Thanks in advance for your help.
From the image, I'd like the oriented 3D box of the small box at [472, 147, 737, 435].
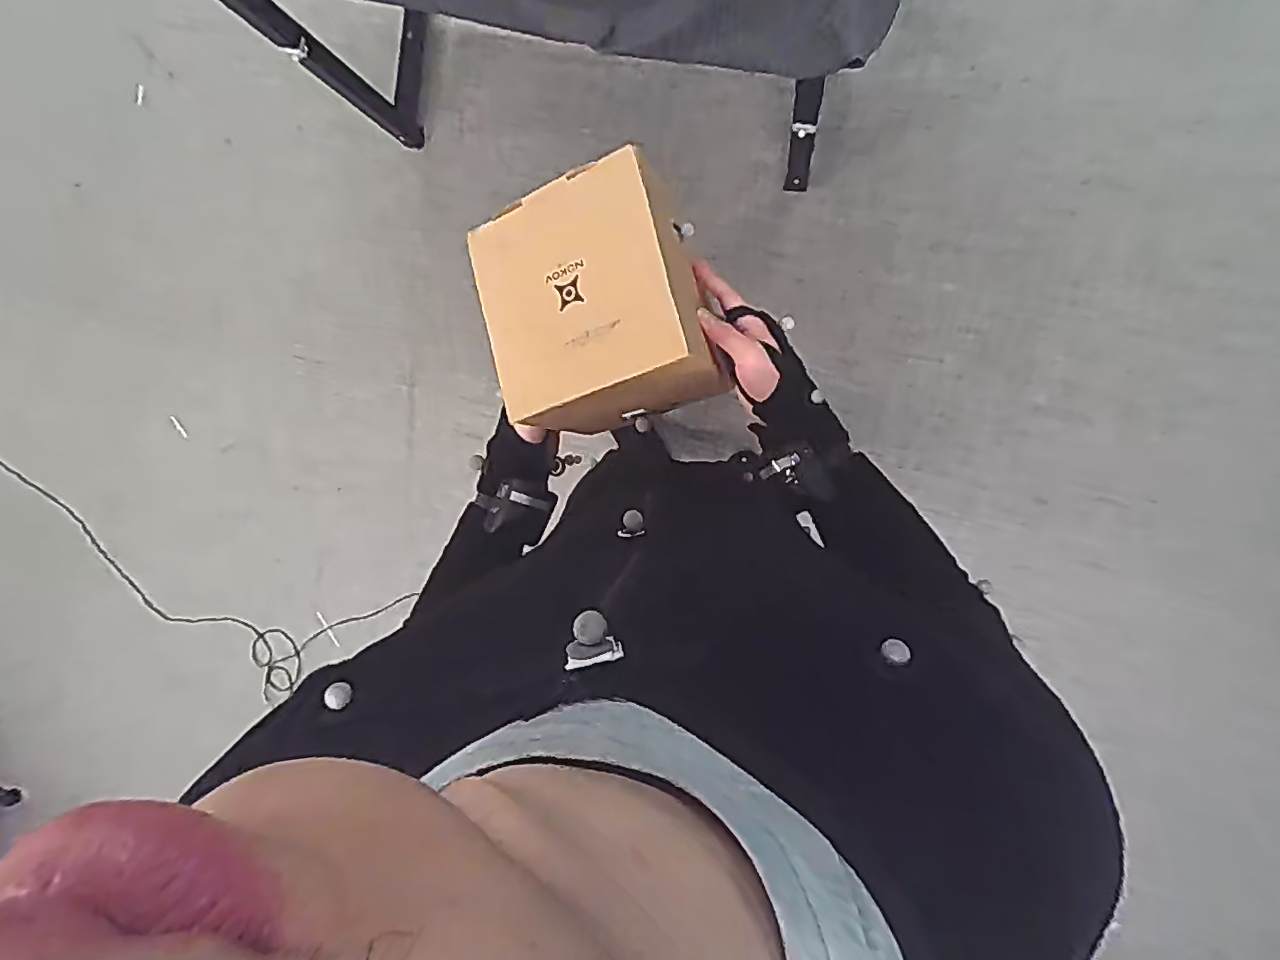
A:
[{"bbox_3d":[-0.022,-0.151,0.505,0.168,0.176,0.179,-18,84,21],"label":"small box"}]
